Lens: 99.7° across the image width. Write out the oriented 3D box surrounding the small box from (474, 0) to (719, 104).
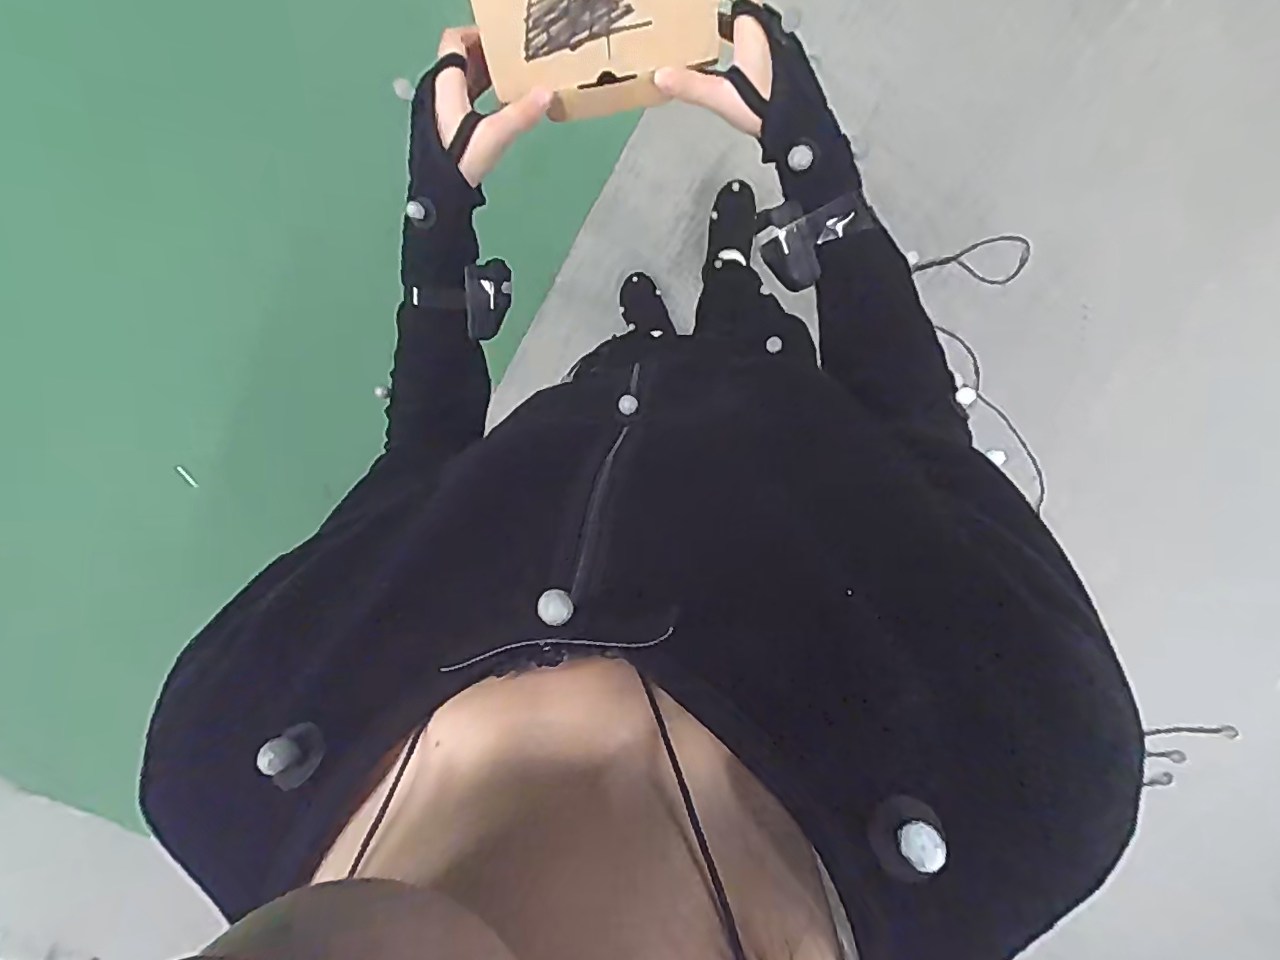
[{"bbox_3d":[-0.034,-0.402,0.404,0.168,0.176,0.179,-7,125,5],"label":"small box"}]
